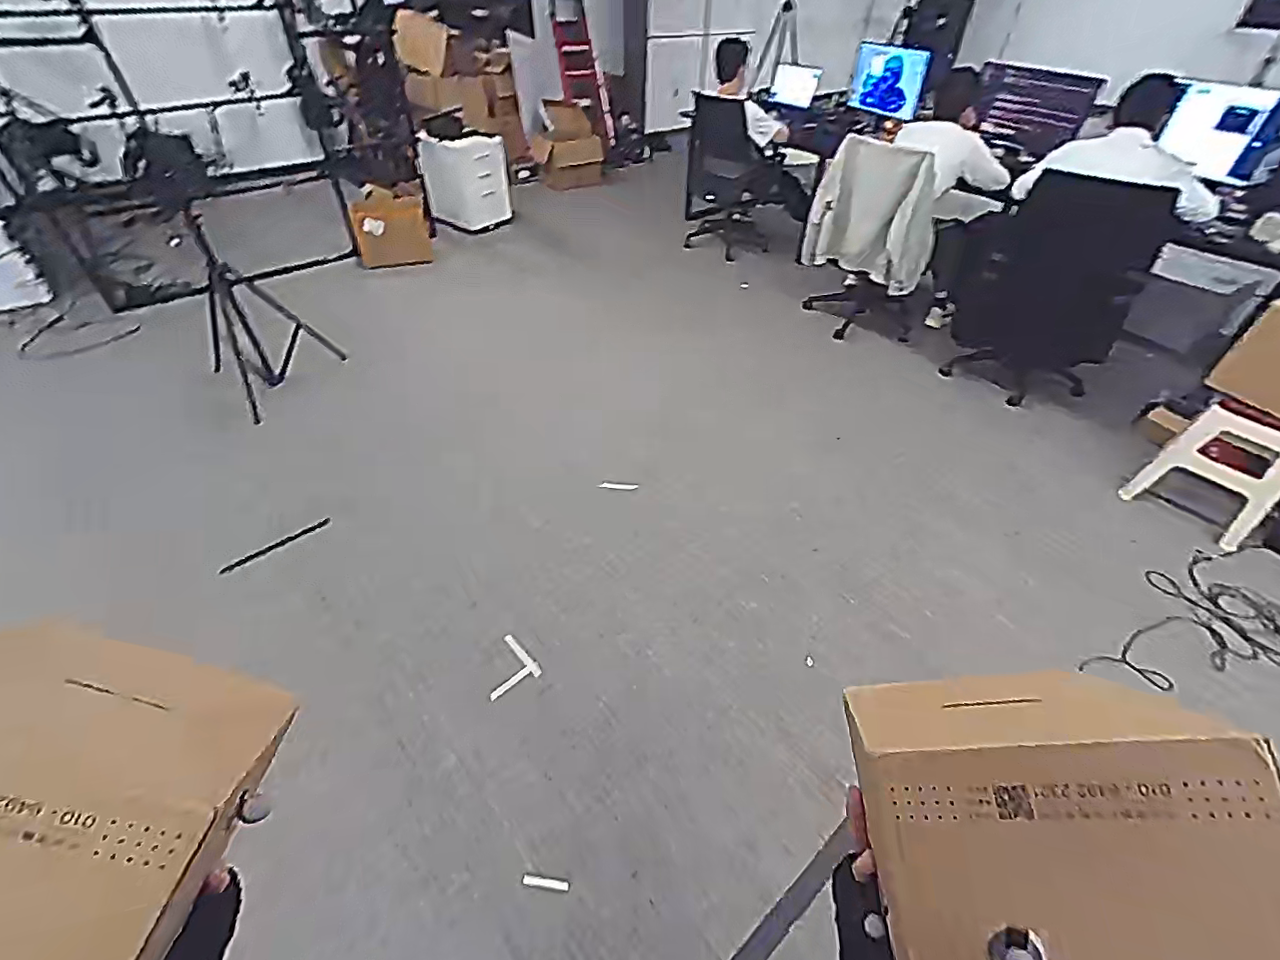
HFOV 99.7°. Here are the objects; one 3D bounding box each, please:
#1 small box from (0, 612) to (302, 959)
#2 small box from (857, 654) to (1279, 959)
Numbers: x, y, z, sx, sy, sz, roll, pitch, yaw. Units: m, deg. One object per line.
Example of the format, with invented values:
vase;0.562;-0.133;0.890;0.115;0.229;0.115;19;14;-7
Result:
small box;-0.314;0.180;0.280;0.168;0.179;0.176;27;76;-16
small box;0.231;0.204;0.312;0.168;0.179;0.176;-9;78;15
